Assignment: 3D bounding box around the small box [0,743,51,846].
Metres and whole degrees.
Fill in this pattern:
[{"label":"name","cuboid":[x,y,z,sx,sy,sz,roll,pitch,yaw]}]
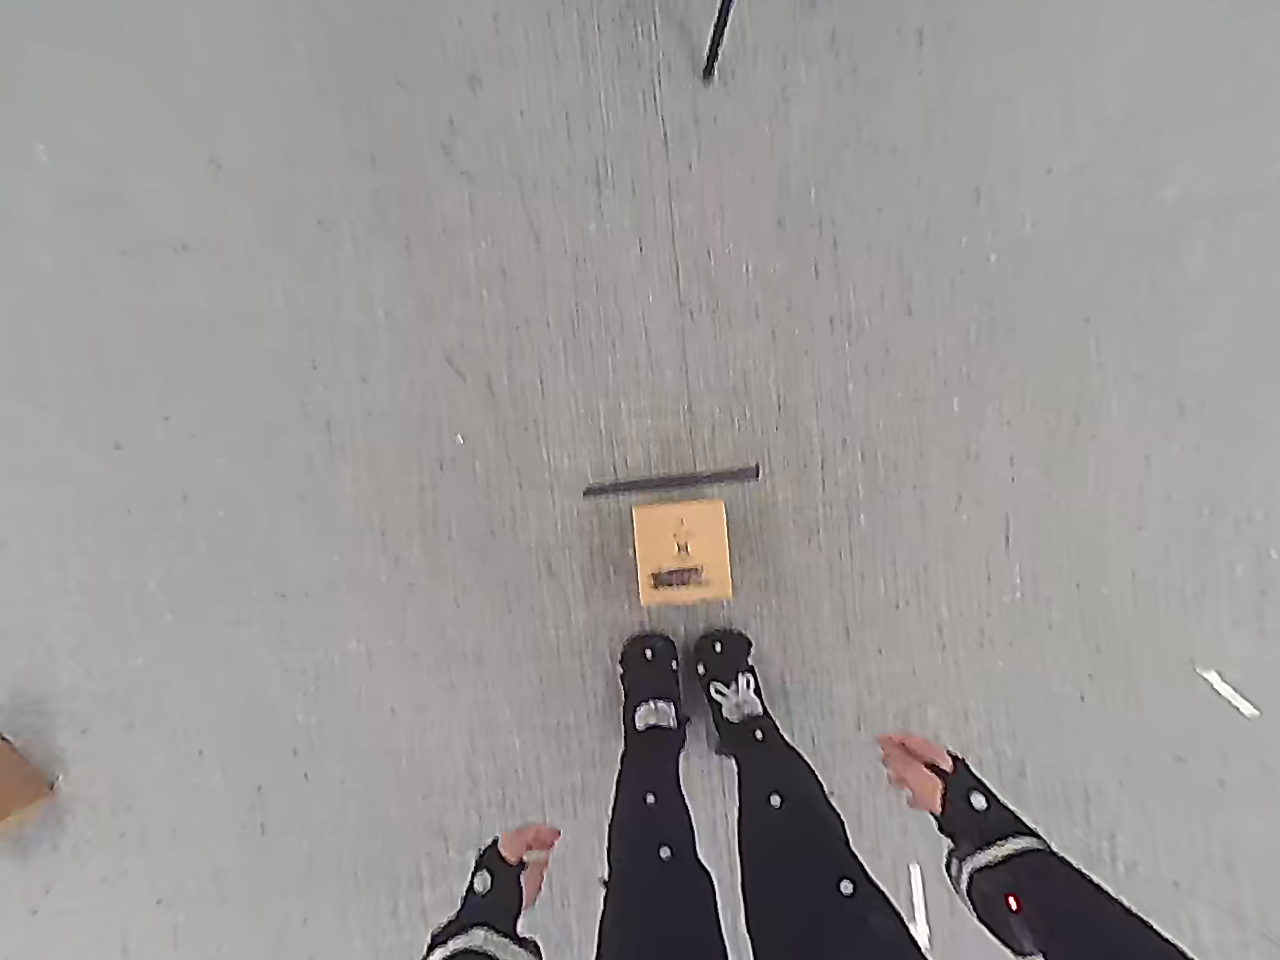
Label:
[{"label":"small box","cuboid":[-1.294,0.634,1.012,0.168,0.176,0.179,-43,90,-2]}]
